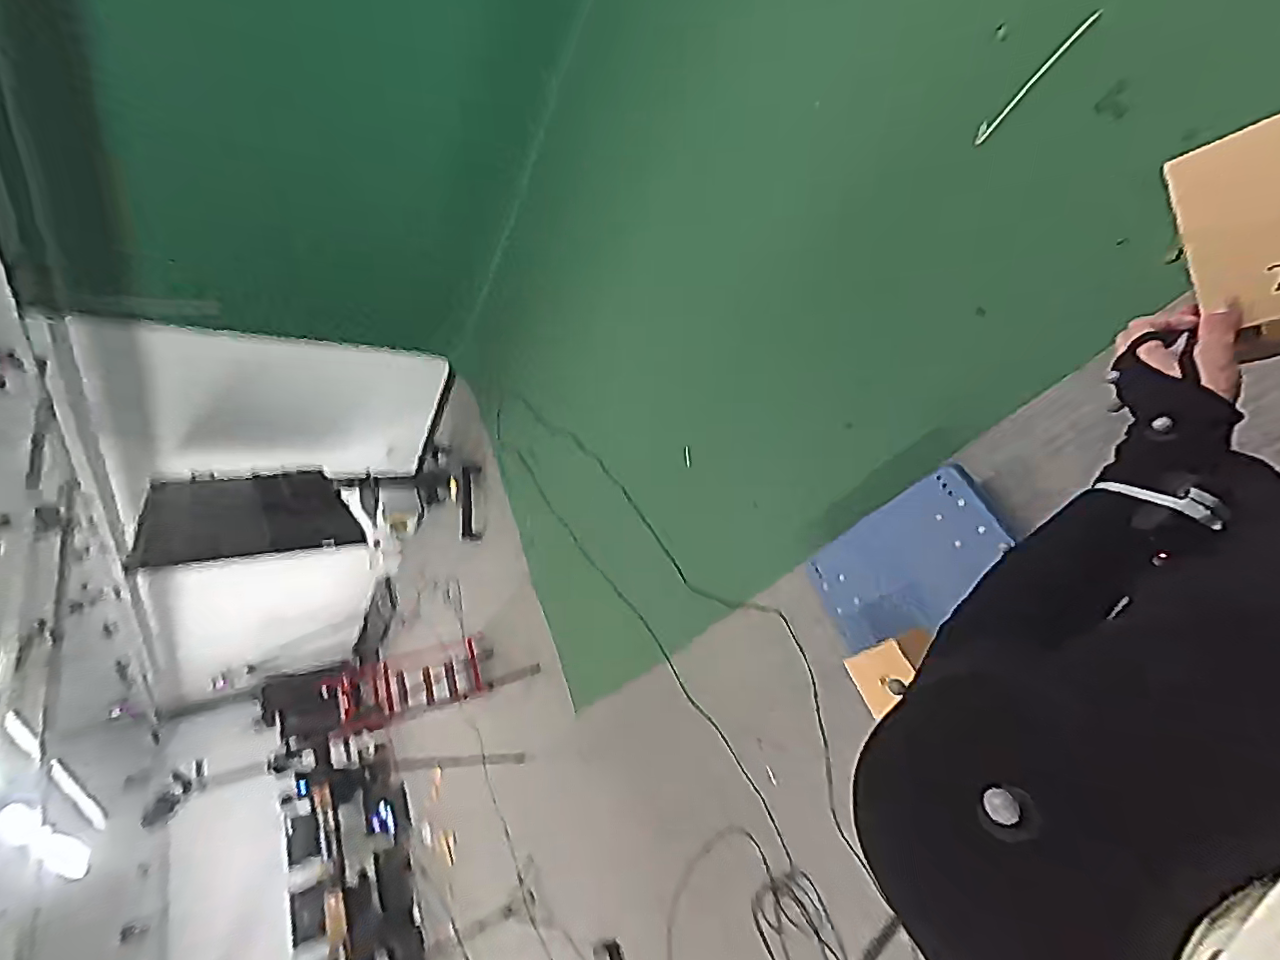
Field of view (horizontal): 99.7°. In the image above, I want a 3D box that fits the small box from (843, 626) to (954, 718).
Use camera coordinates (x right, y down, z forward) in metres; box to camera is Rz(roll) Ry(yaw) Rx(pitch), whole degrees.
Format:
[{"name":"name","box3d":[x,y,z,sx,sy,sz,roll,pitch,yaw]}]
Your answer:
[{"name":"small box","box3d":[0.696,0.513,1.454,0.179,0.176,0.168,-49,56,40]}]
